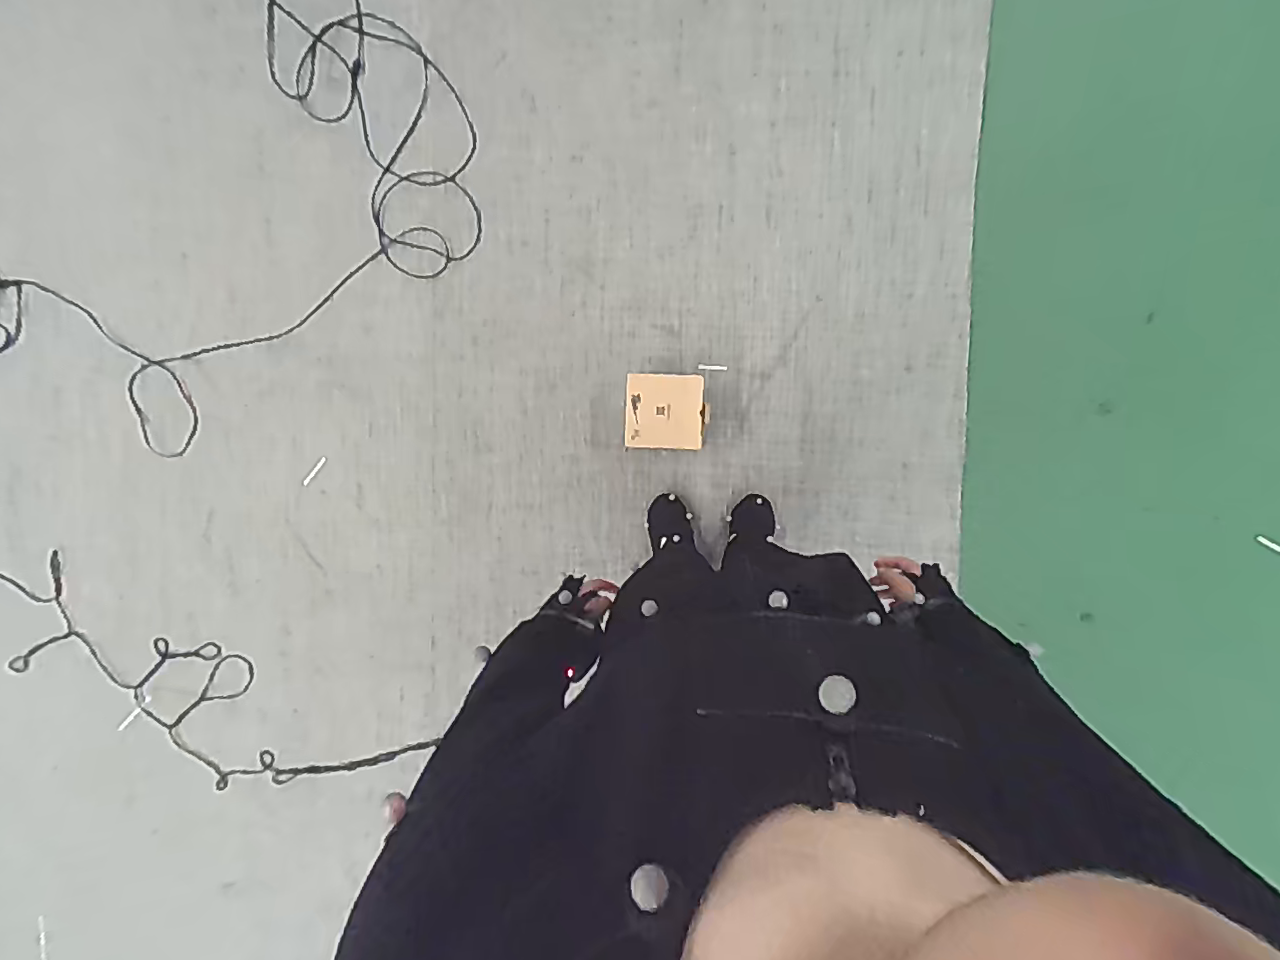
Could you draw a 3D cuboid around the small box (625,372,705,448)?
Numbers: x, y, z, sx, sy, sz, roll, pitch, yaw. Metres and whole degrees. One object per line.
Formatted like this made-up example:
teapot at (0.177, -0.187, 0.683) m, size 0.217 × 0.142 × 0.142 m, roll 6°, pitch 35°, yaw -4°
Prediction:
small box at (0.060, -0.162, 1.283) m, size 0.179 × 0.176 × 0.168 m, roll 2°, pitch 94°, yaw 5°
